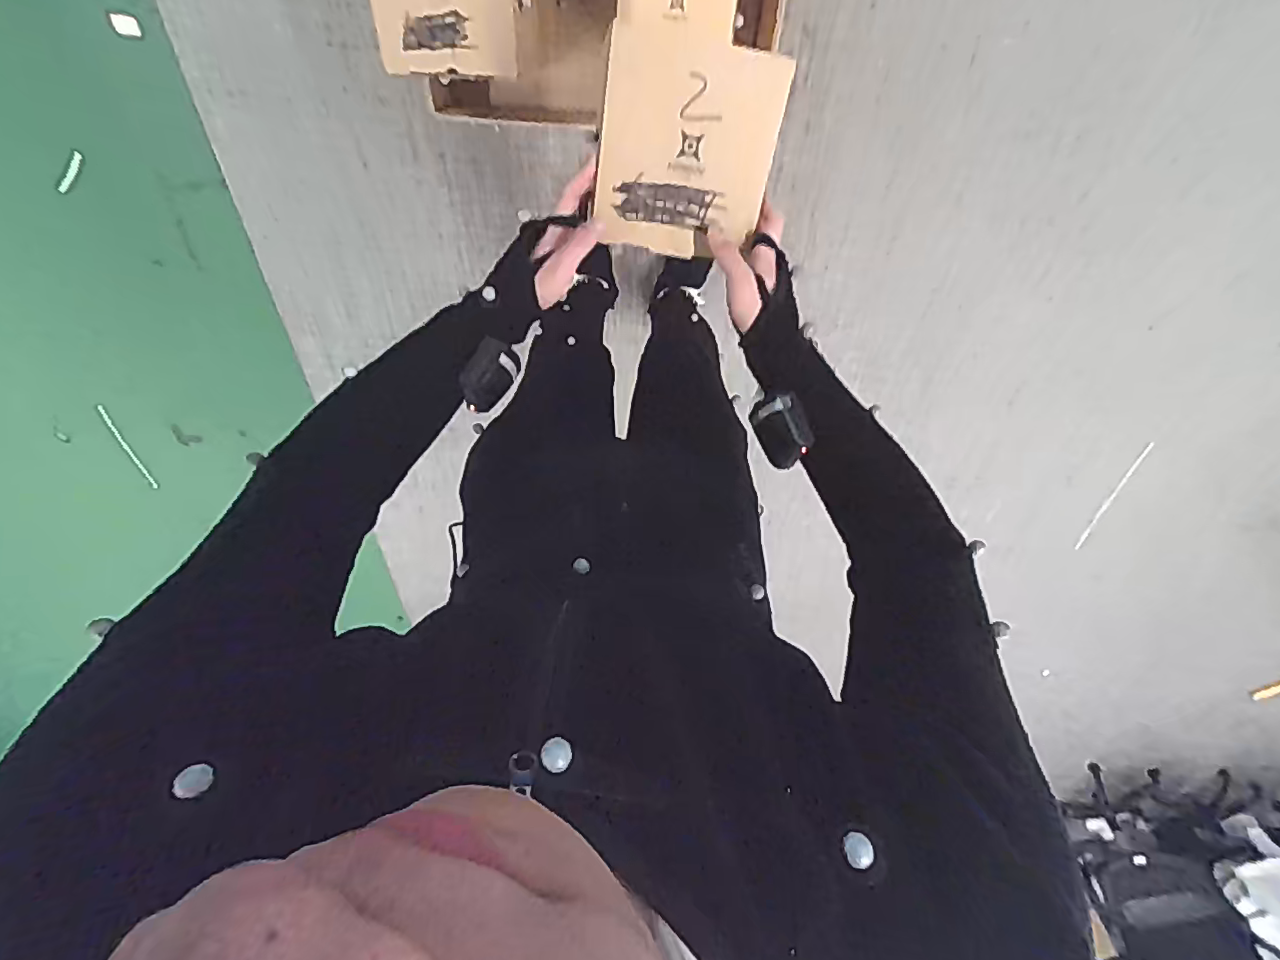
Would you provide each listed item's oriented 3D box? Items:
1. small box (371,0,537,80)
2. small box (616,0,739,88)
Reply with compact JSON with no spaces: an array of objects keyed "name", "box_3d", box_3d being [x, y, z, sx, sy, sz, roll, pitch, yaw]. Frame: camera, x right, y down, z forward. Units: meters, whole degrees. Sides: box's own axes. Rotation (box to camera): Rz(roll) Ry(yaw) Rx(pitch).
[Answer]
[{"name":"small box","box_3d":[-0.223,-0.609,0.664,0.168,0.176,0.179,2,128,-2]},{"name":"small box","box_3d":[0.052,-0.703,0.802,0.168,0.176,0.179,3,130,-3]}]
